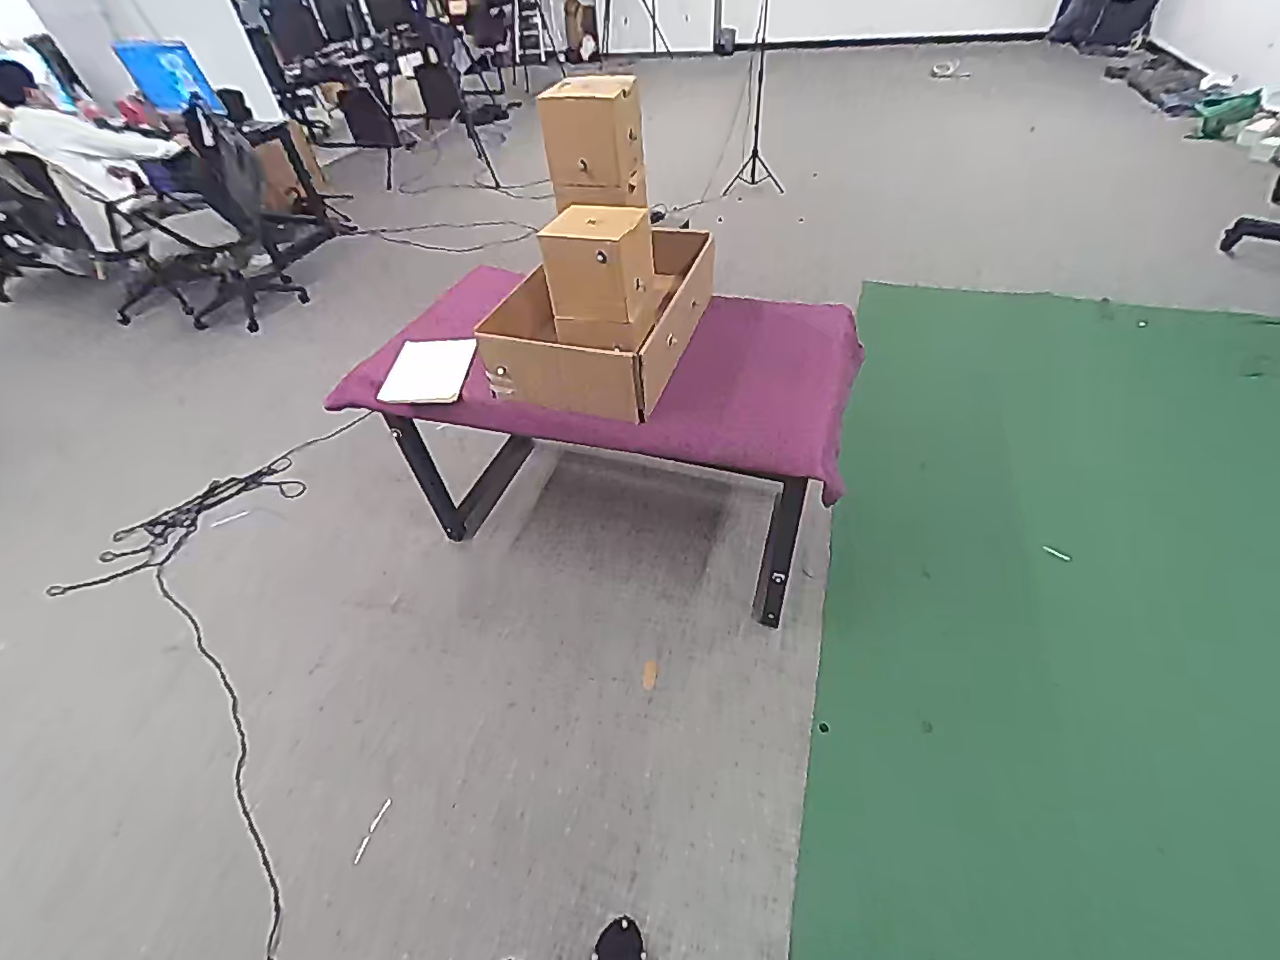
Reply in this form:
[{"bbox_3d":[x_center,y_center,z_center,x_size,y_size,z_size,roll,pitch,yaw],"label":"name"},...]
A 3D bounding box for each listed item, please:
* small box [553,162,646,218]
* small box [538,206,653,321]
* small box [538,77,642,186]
[{"bbox_3d":[-0.088,-0.659,1.321,0.179,0.176,0.168,10,49,14],"label":"small box"},{"bbox_3d":[-0.082,-0.443,1.105,0.179,0.176,0.168,12,47,16],"label":"small box"},{"bbox_3d":[-0.100,-0.774,1.204,0.179,0.176,0.168,12,49,15],"label":"small box"}]
